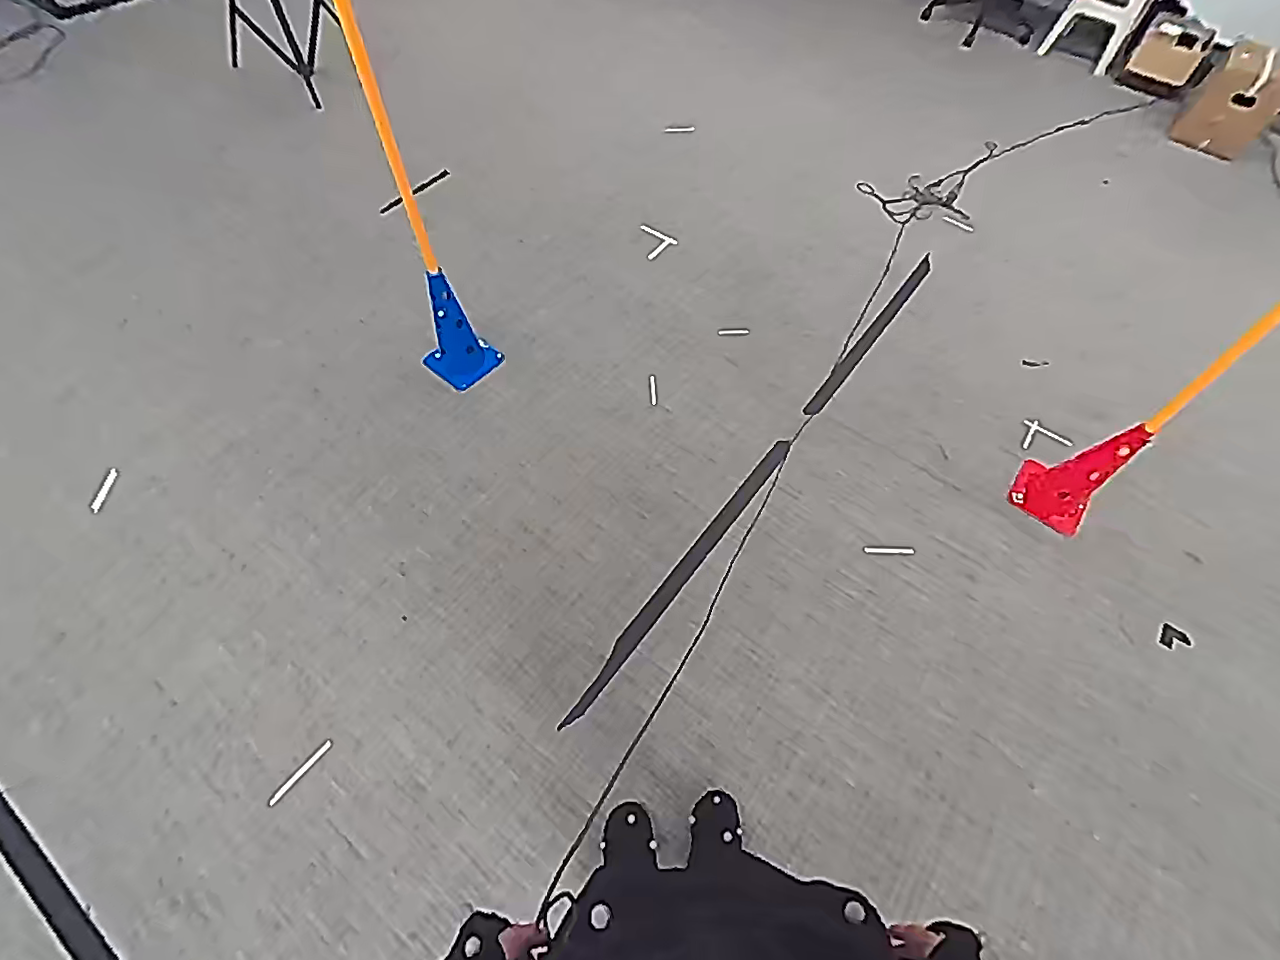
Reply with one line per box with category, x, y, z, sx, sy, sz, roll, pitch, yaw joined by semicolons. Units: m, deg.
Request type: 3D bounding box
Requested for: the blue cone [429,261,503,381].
blue cone;-0.573;-0.498;1.653;0.193;0.380;0.192;38;65;17
